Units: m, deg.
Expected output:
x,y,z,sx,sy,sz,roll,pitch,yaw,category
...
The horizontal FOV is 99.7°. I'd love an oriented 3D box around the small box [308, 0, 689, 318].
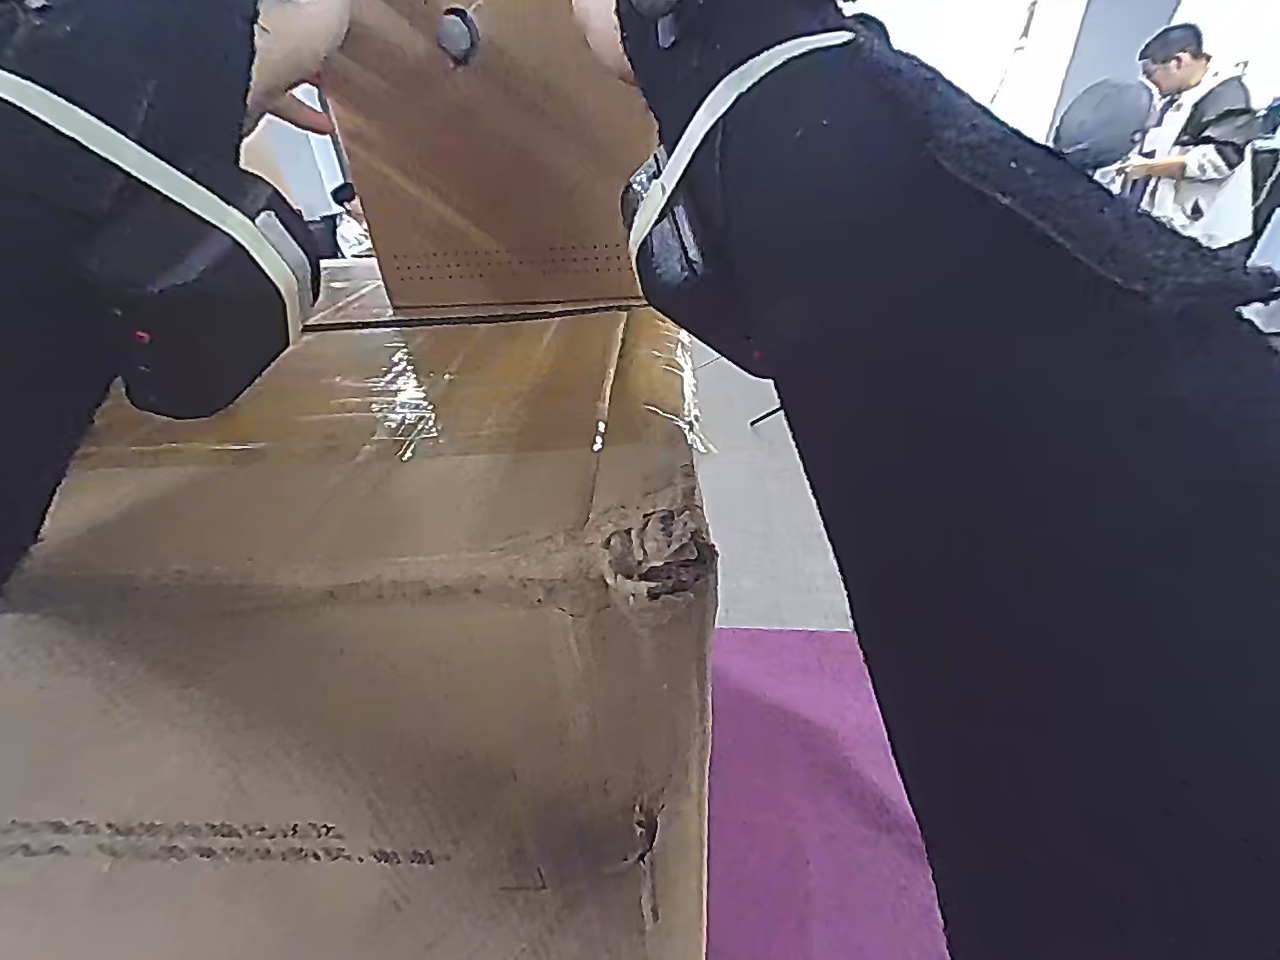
x,y,z,sx,sy,sz,roll,pitch,yaw,category
-0.059,-0.211,0.349,0.179,0.176,0.168,0,34,8,small box
